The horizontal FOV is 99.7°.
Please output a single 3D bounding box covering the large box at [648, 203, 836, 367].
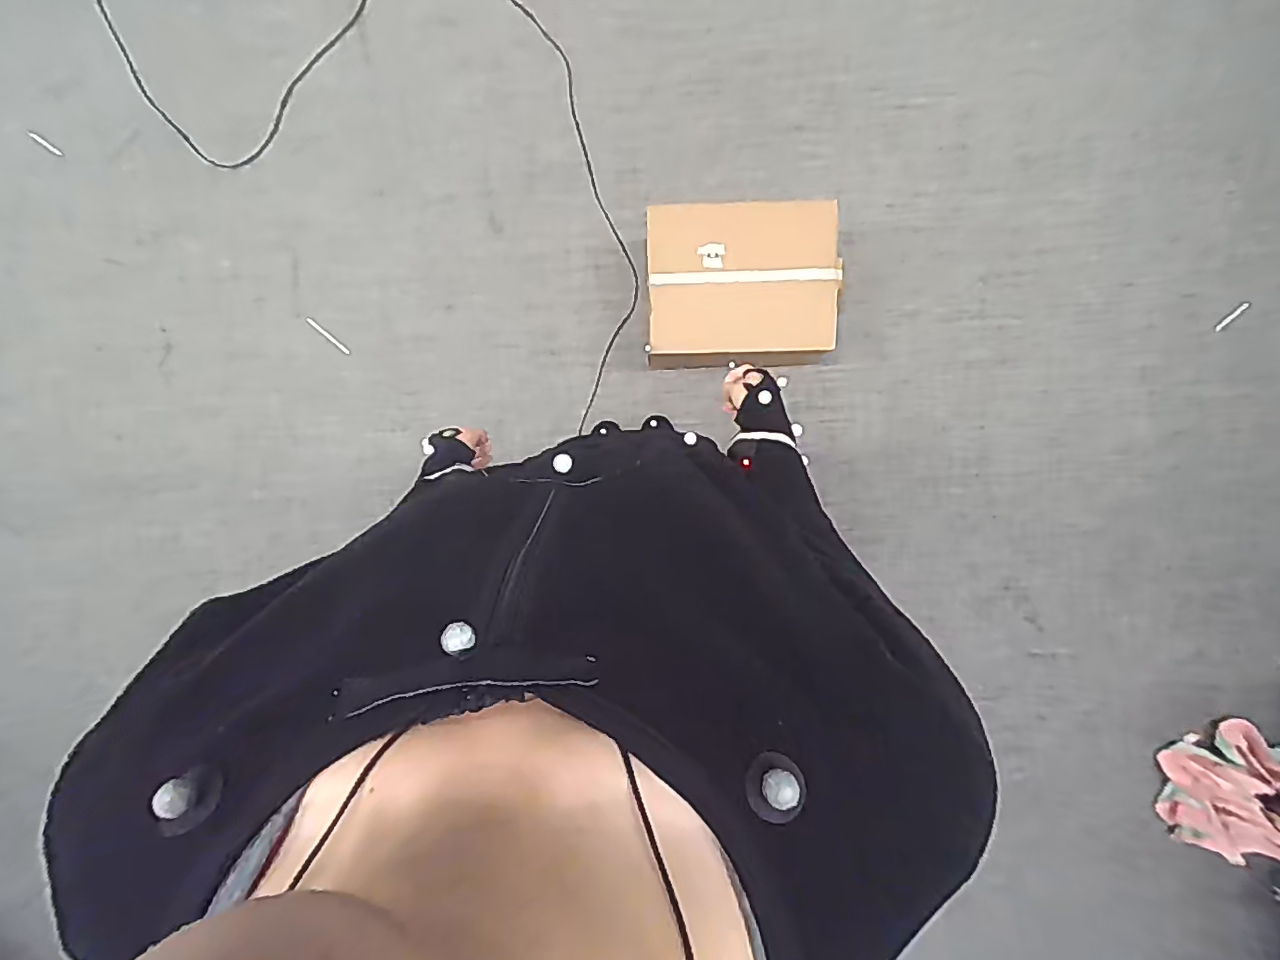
[{"bbox_3d":[0.227,-0.444,1.308,0.408,0.320,0.320,-1,96,2],"label":"large box"}]
